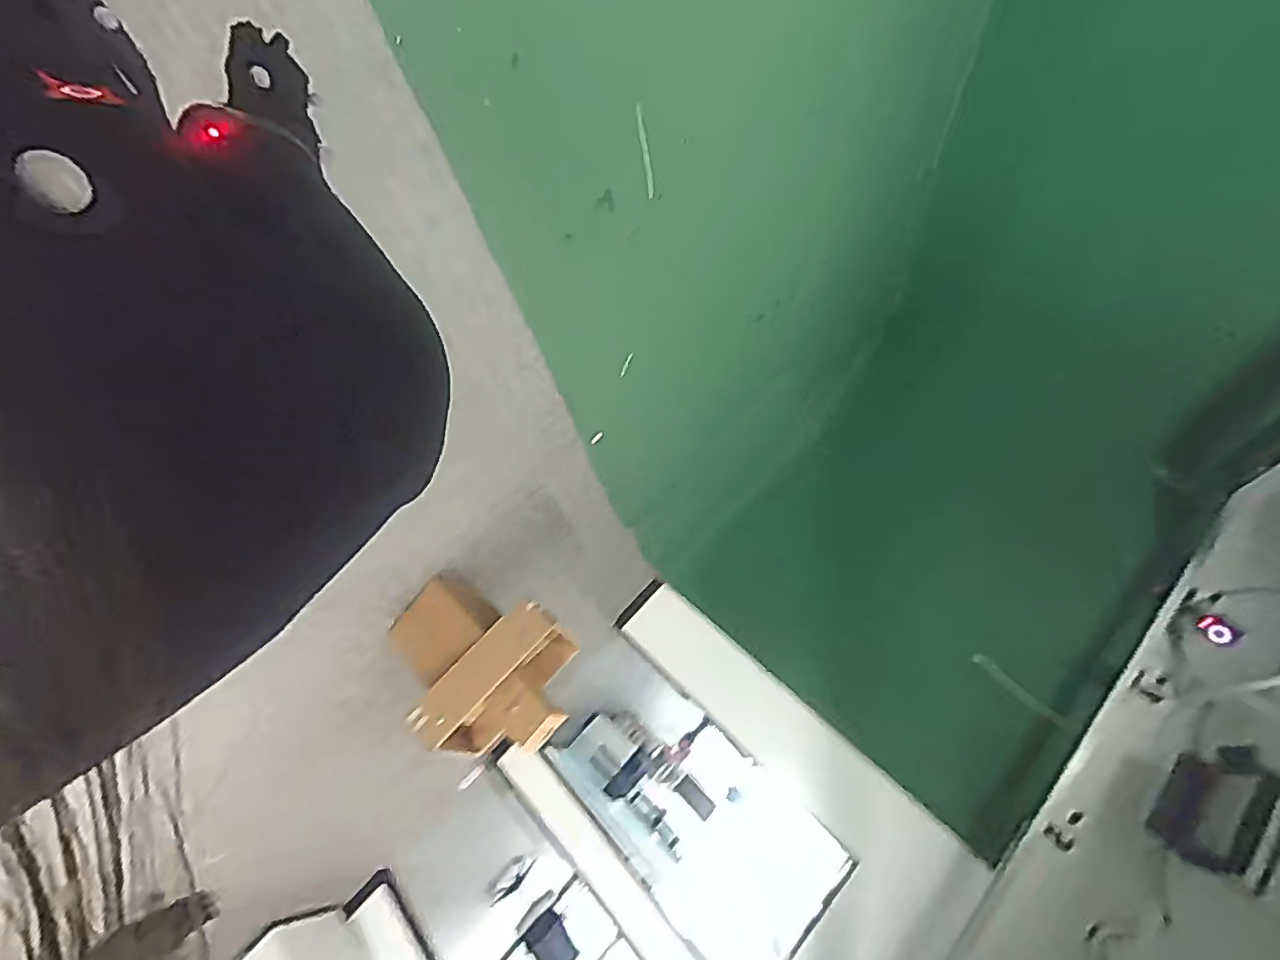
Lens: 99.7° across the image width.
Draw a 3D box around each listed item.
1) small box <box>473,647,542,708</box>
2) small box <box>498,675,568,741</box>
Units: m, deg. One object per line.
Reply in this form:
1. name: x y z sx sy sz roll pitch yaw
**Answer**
1. small box: -0.530 0.790 2.166 0.168 0.176 0.179 -49 154 -9
2. small box: -0.414 0.882 2.094 0.168 0.176 0.179 -48 152 -9
